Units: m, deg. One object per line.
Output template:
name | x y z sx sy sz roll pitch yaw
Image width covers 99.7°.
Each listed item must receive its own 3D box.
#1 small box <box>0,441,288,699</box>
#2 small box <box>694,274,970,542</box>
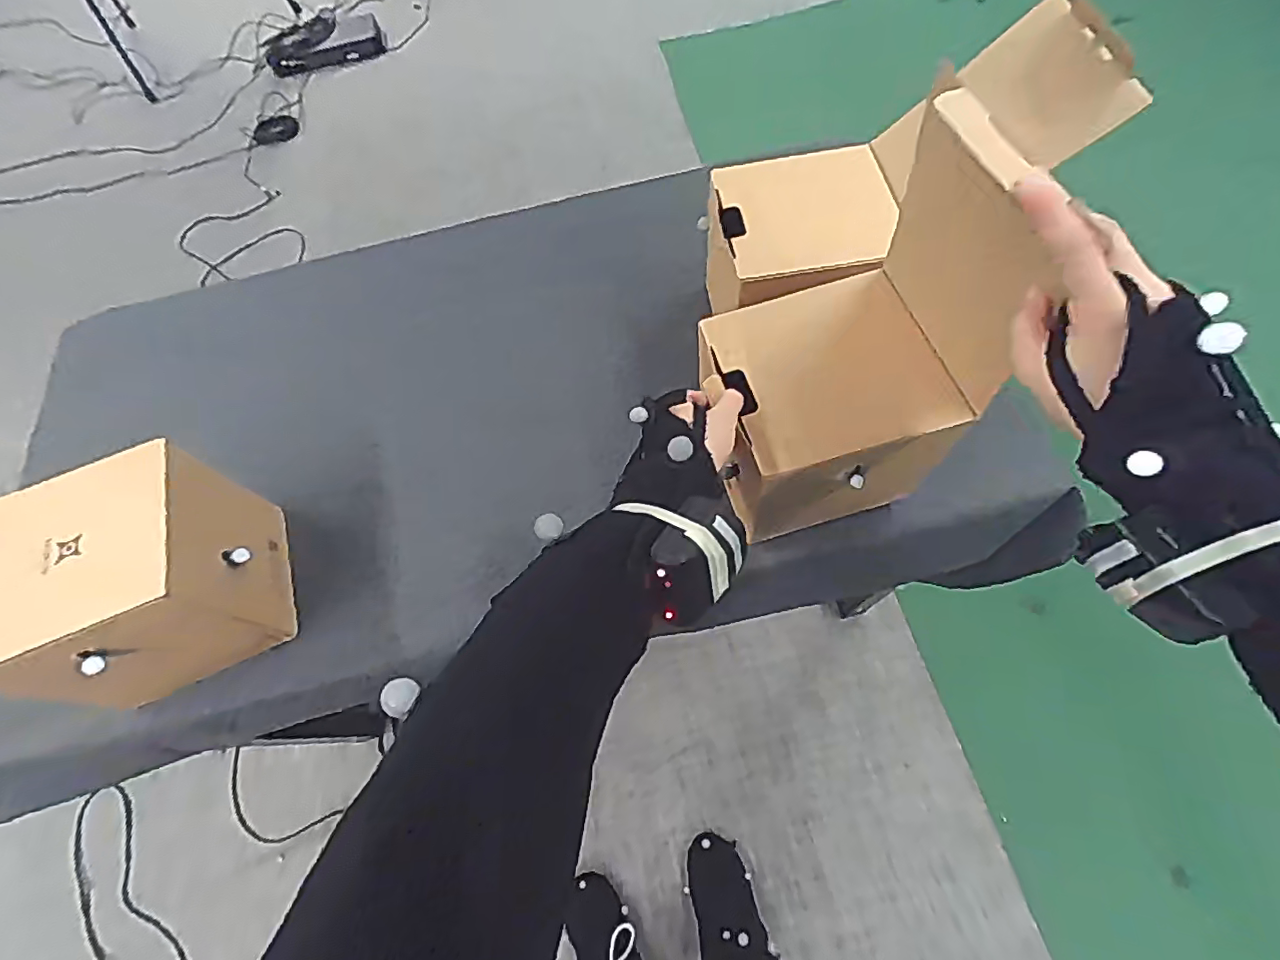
small box | -0.476 0.095 0.527 0.179 0.176 0.168 -23 63 -5
small box | 0.159 -0.056 0.515 0.179 0.176 0.168 -16 65 -1
